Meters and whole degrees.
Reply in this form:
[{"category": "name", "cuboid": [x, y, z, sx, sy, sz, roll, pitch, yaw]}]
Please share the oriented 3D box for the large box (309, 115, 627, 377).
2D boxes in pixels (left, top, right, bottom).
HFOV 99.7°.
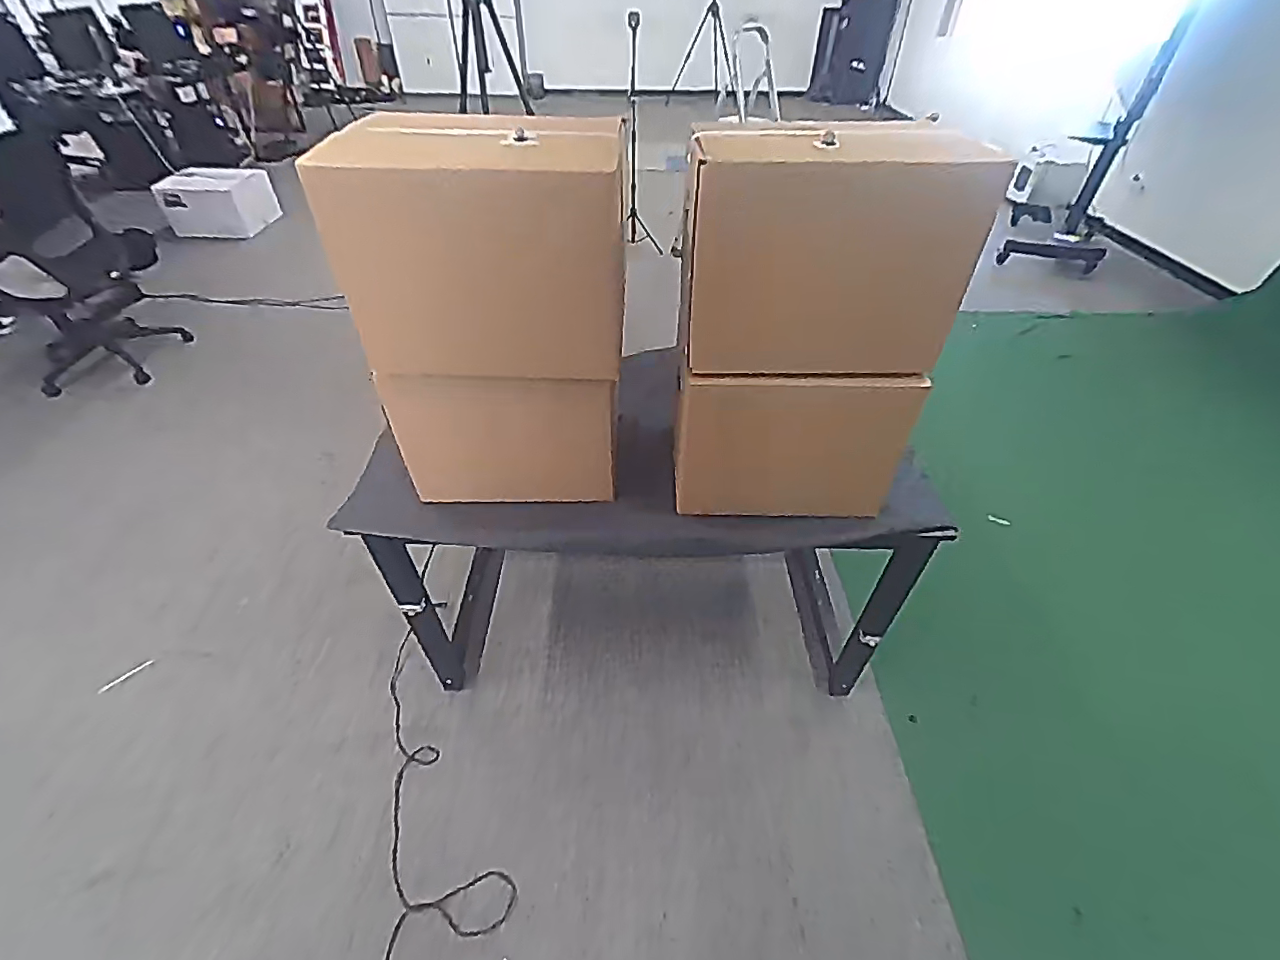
[{"category": "large box", "cuboid": [-0.229, -0.383, 0.892, 0.408, 0.320, 0.320, 2, 45, -2]}]
